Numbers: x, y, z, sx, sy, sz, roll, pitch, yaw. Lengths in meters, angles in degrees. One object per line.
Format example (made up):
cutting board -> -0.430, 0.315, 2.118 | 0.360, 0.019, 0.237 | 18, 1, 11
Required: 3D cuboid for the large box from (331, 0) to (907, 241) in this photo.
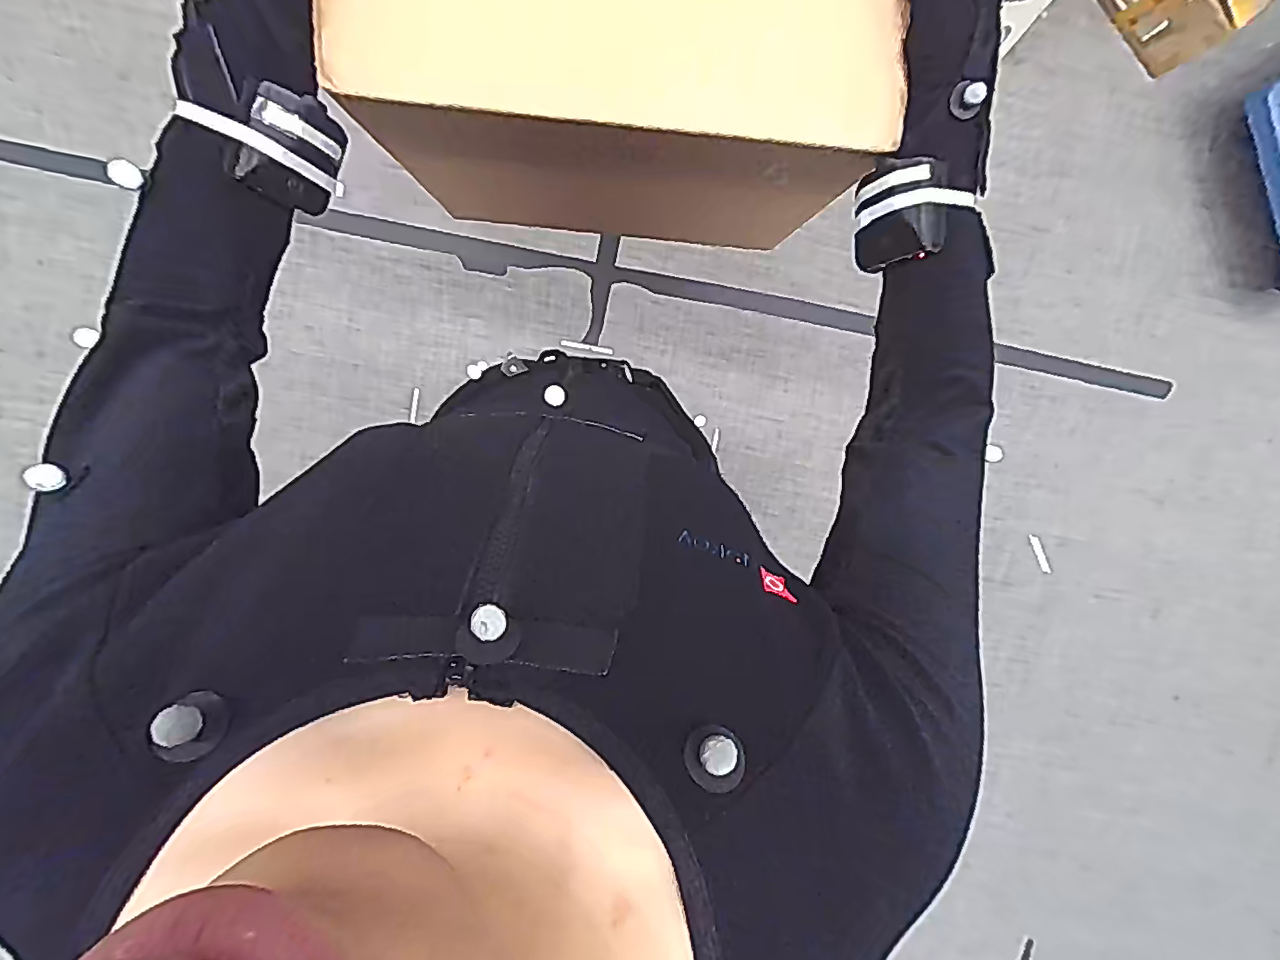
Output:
large box -> -0.014, -0.435, 0.504 | 0.408, 0.320, 0.320 | 4, 101, -4
